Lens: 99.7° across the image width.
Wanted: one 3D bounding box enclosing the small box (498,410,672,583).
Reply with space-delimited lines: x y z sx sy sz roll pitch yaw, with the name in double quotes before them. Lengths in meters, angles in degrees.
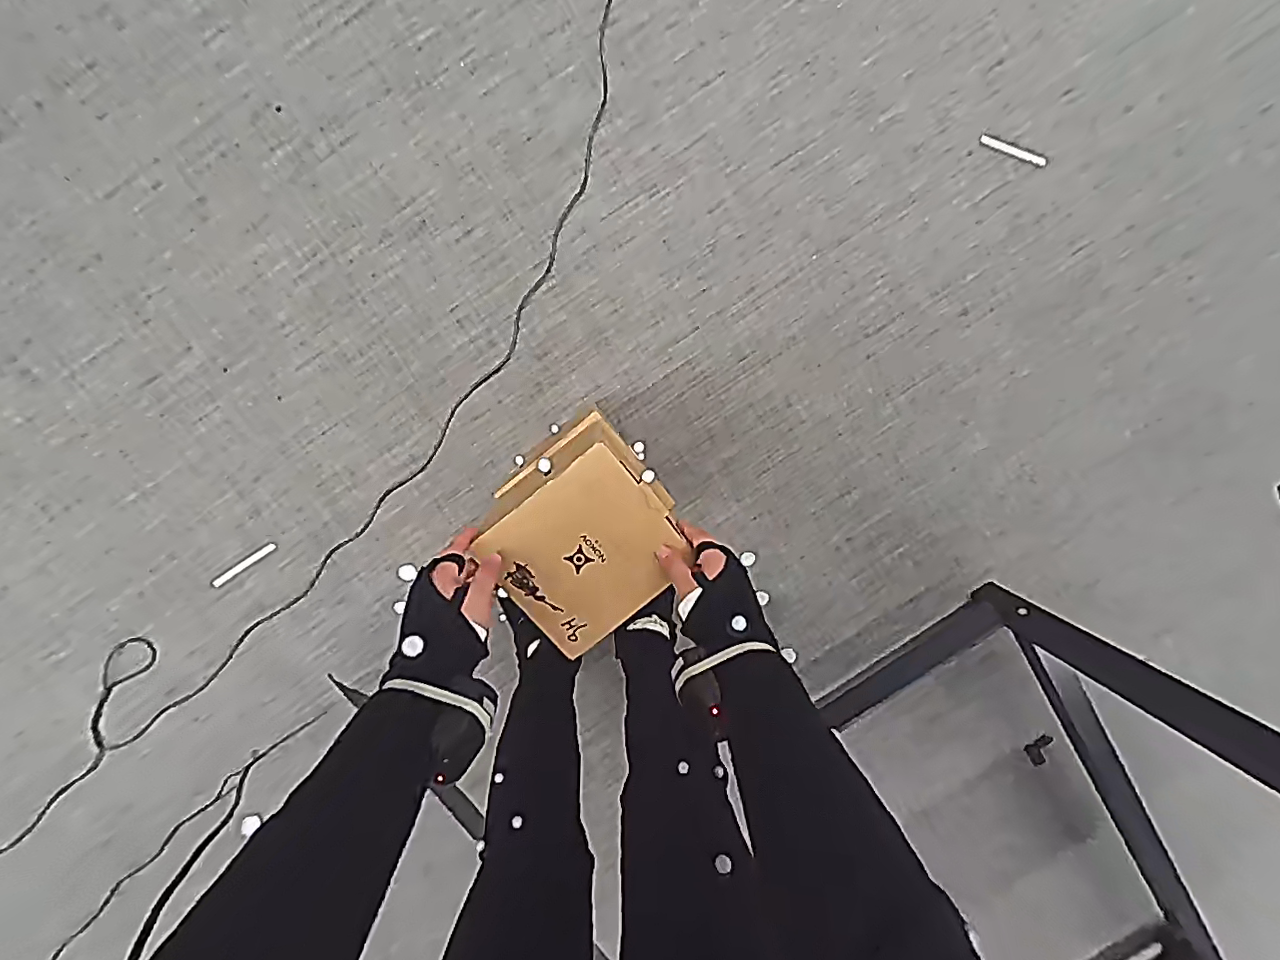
"small box" -0.080 0.014 0.795 0.179 0.176 0.168 -42 103 1
